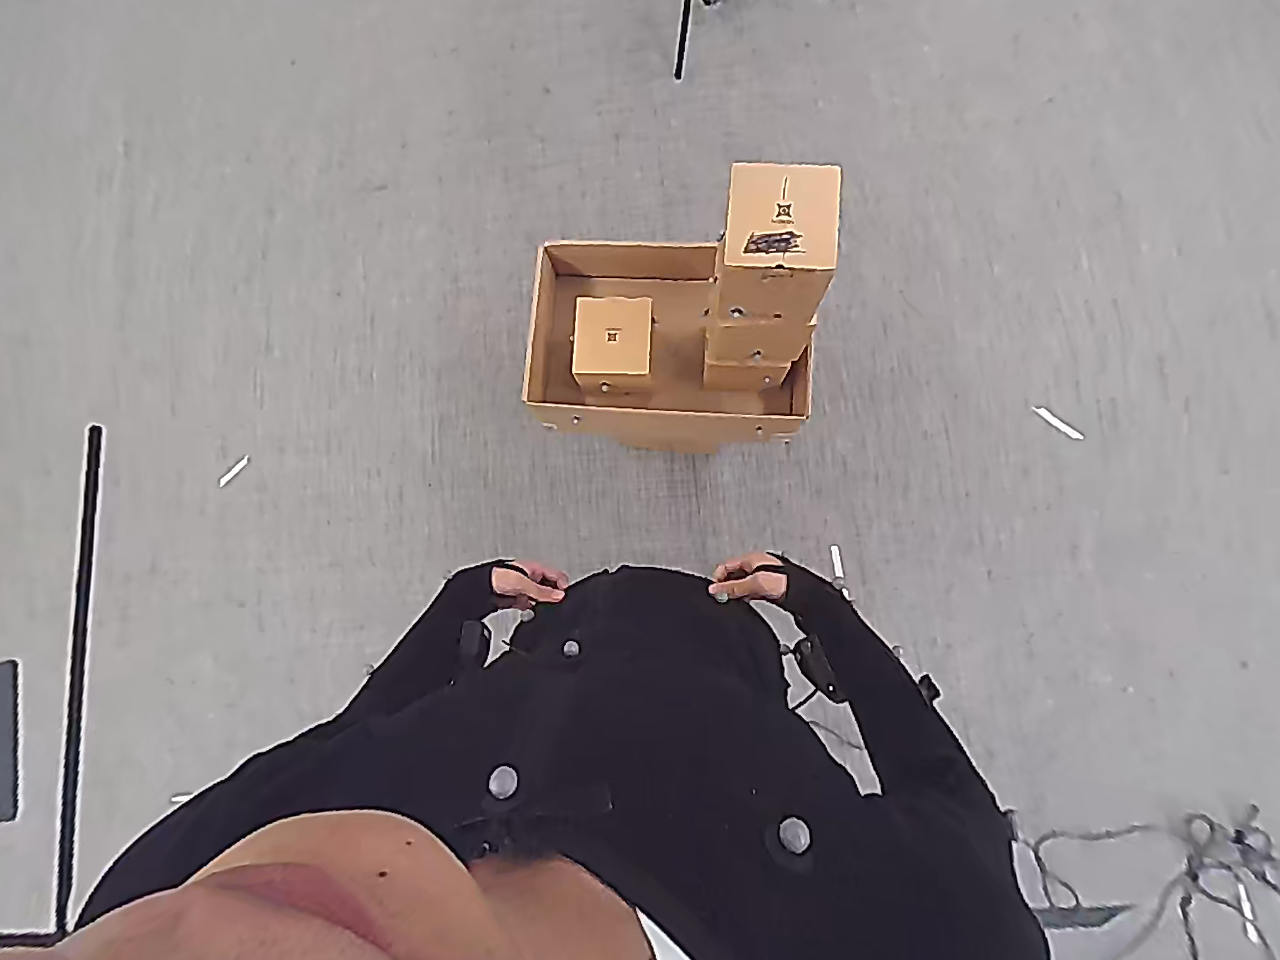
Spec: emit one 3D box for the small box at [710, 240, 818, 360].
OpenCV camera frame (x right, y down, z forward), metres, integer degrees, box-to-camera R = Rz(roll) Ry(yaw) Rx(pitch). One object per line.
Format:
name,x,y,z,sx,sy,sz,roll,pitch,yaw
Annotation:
small box,0.230,-0.338,1.035,0.179,0.176,0.168,1,81,4

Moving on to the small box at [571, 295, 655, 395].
small box,-0.053,-0.297,1.221,0.168,0.176,0.179,2,81,5

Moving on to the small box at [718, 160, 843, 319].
small box,0.218,-0.379,0.875,0.168,0.176,0.179,5,81,5
